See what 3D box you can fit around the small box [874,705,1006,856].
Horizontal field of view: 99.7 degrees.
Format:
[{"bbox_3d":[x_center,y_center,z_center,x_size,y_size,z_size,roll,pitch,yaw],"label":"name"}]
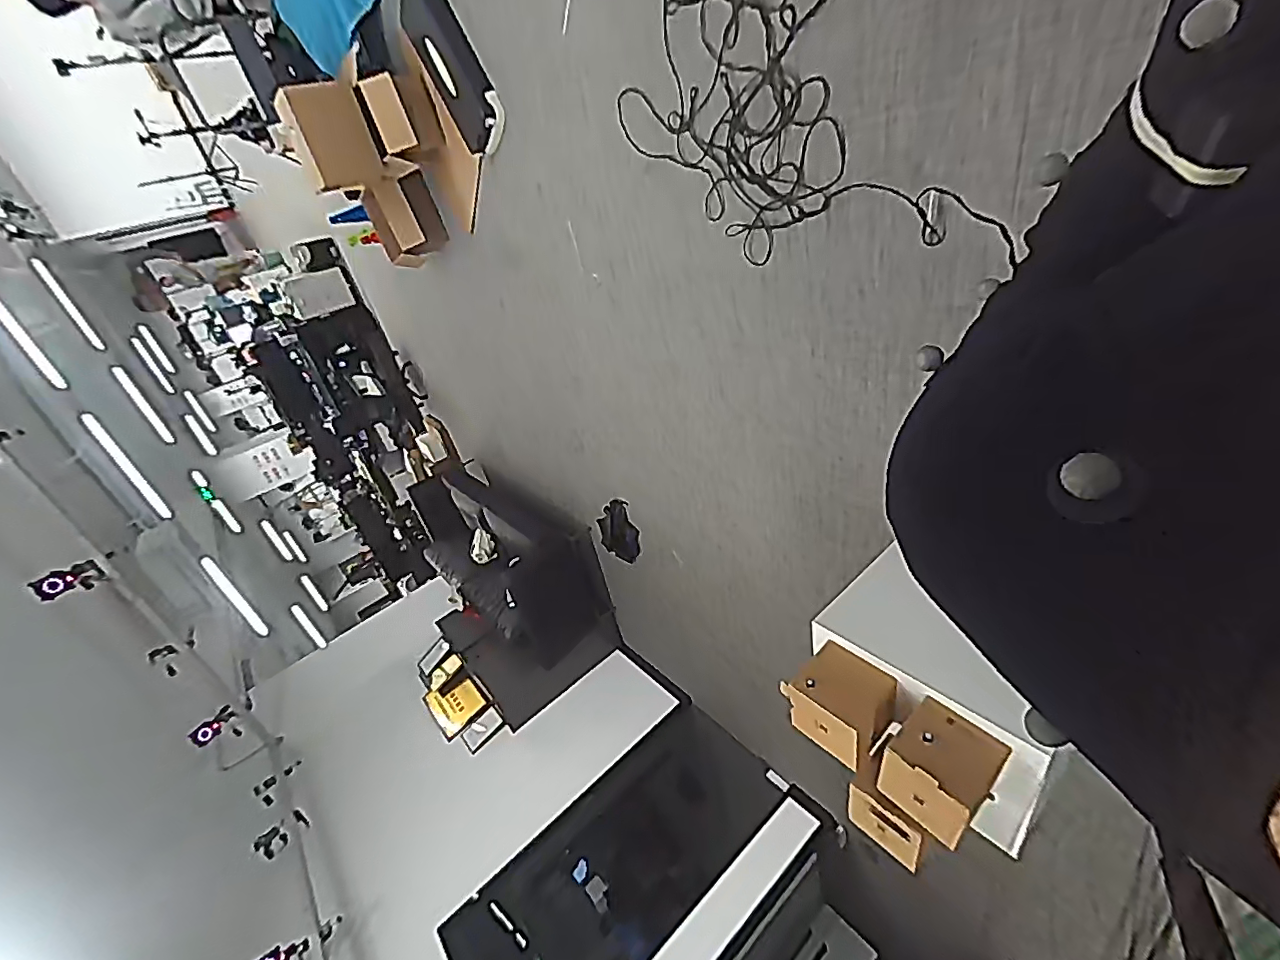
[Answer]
[{"bbox_3d":[0.603,0.596,1.092,0.168,0.176,0.179,31,143,44],"label":"small box"}]
